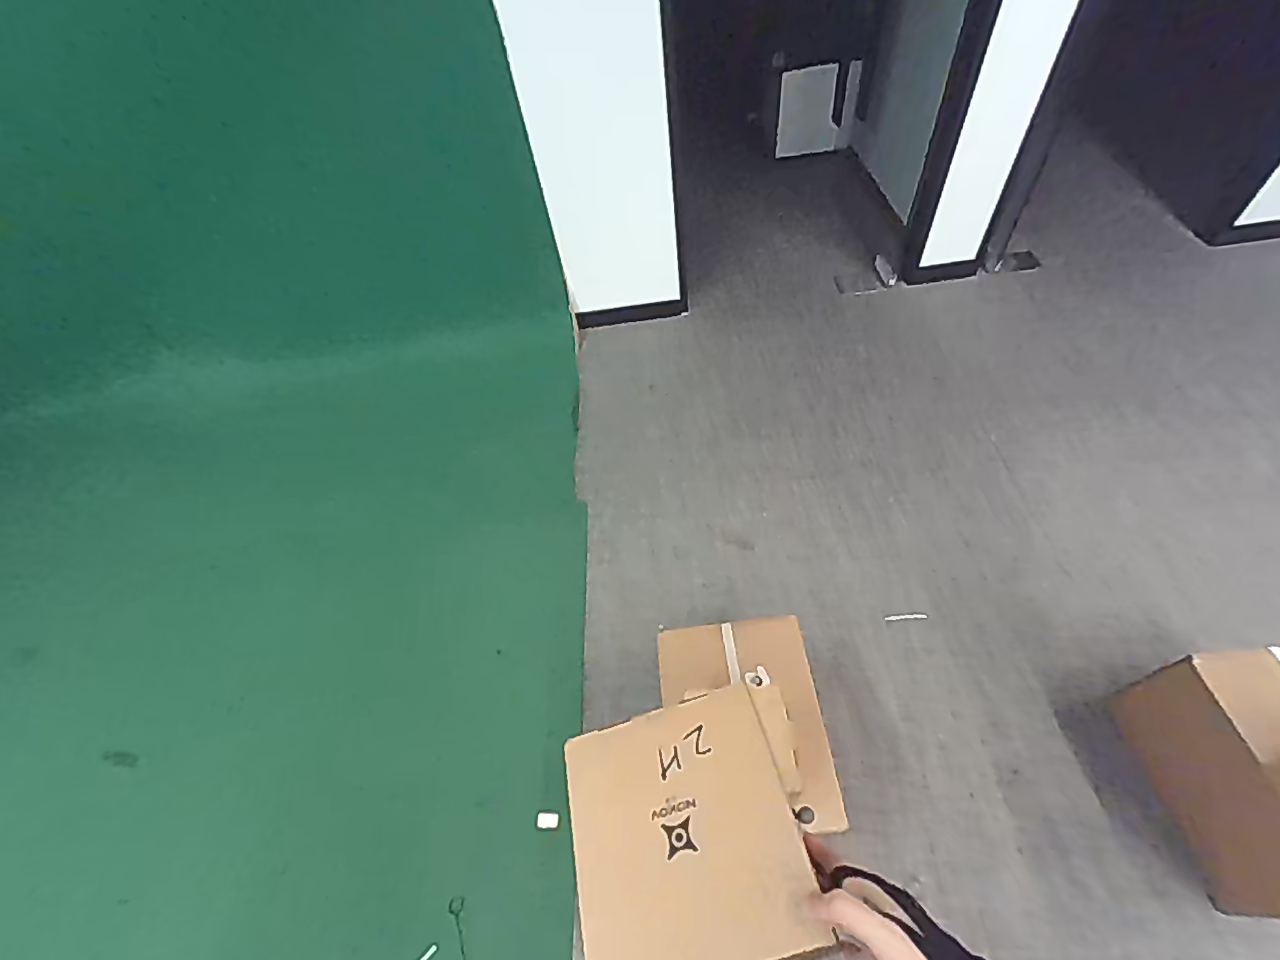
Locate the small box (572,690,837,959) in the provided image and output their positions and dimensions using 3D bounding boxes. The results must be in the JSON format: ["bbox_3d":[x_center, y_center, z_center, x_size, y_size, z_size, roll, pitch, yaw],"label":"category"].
[{"bbox_3d":[0.055,0.314,0.461,0.168,0.176,0.179,-19,44,4],"label":"small box"}]

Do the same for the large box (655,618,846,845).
[{"bbox_3d":[0.219,0.570,1.190,0.320,0.320,0.408,-7,52,3],"label":"large box"}]

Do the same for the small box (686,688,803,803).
[{"bbox_3d":[0.178,0.479,0.955,0.179,0.176,0.168,-6,52,7],"label":"small box"}]
